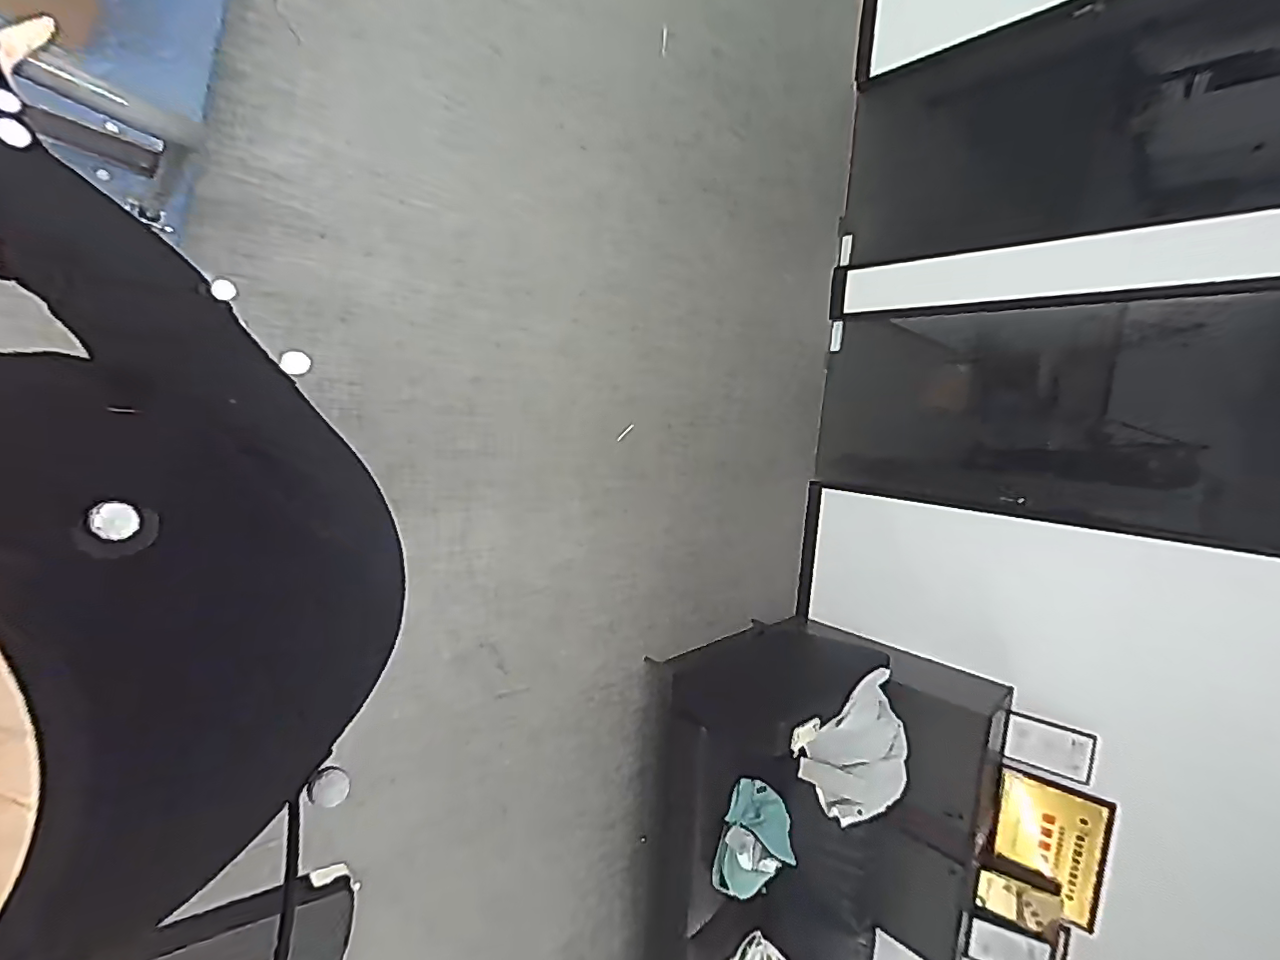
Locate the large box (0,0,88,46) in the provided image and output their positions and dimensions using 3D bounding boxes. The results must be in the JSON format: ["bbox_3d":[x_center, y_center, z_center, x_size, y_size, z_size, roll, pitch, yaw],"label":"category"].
[{"bbox_3d":[-0.924,-0.866,0.648,0.408,0.320,0.320,14,88,-47],"label":"large box"}]
